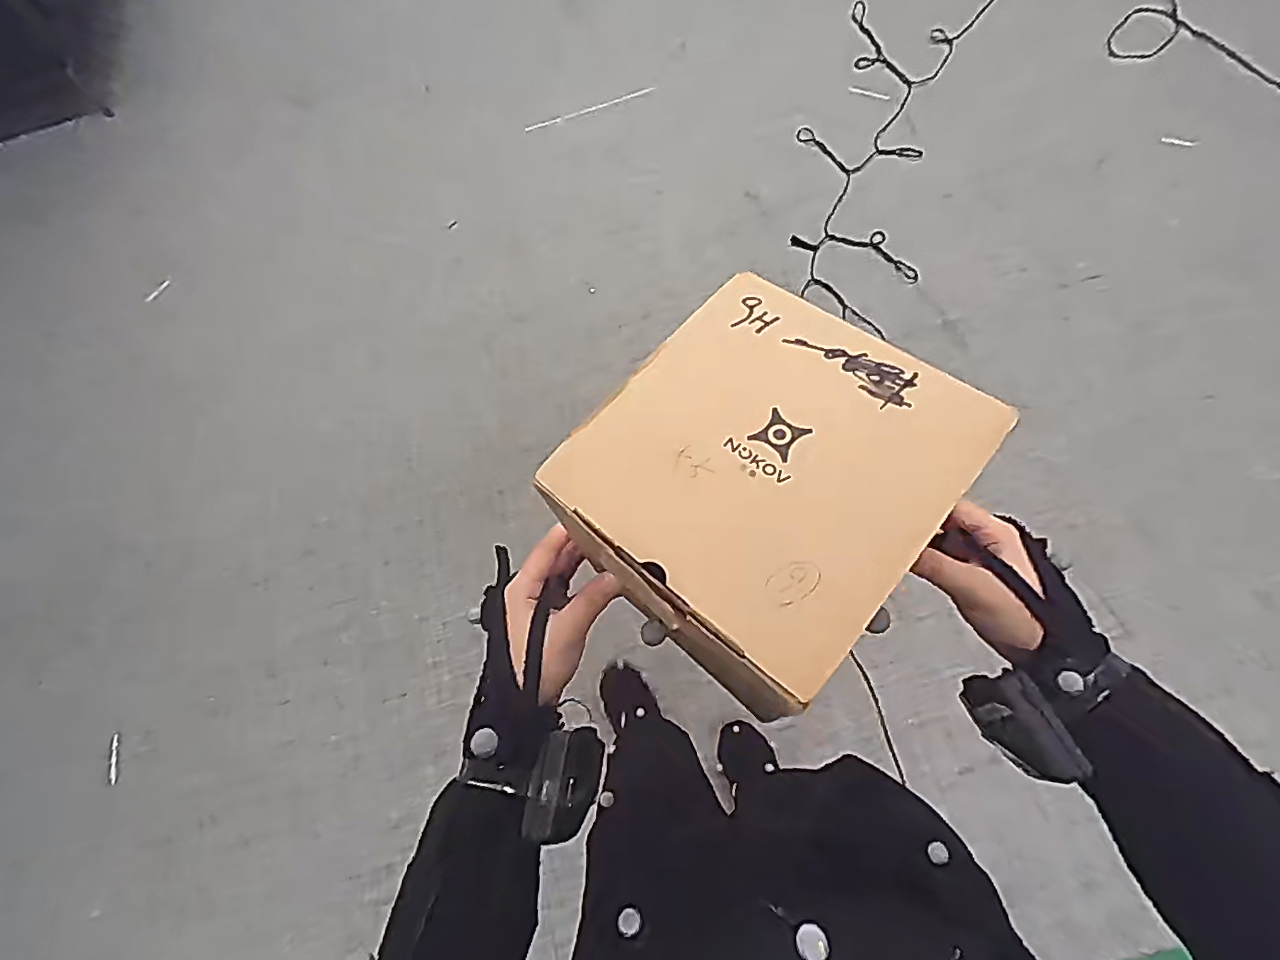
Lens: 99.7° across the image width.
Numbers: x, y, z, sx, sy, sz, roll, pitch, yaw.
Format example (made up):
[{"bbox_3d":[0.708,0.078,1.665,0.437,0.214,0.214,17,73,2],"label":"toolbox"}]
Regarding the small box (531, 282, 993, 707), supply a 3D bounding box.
[{"bbox_3d":[0.068,0.021,0.343,0.168,0.176,0.179,38,75,22],"label":"small box"}]
